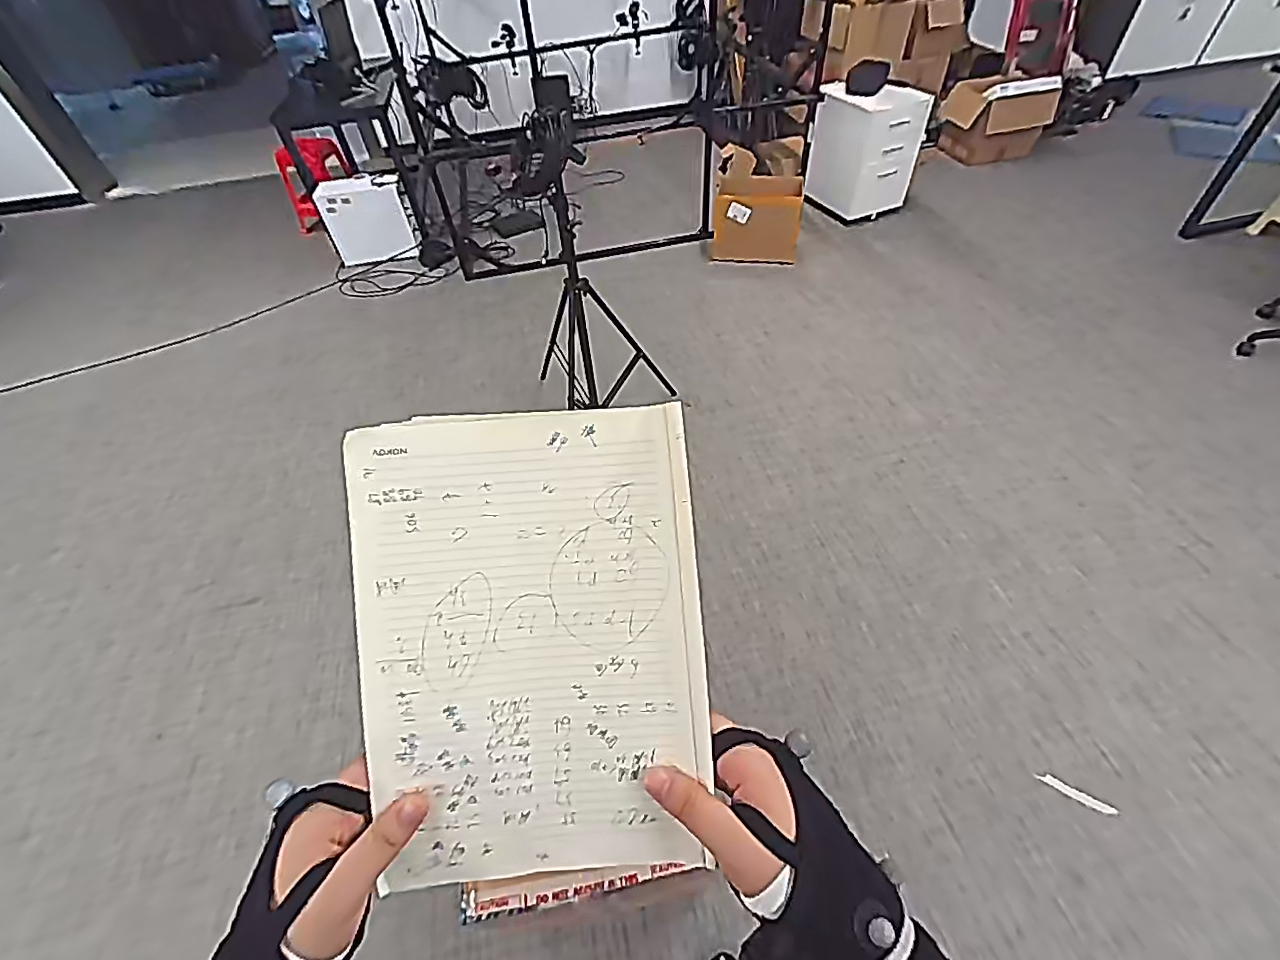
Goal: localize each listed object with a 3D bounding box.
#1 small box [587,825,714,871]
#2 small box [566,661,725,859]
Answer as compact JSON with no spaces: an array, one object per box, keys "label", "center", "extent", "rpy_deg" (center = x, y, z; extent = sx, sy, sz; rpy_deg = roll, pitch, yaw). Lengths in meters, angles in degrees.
[{"label":"small box","center":[0.000,0.473,0.828],"extent":[0.179,0.176,0.168],"rpy_deg":[-13,50,-8]},{"label":"small box","center":[0.000,0.365,0.704],"extent":[0.168,0.176,0.179],"rpy_deg":[-10,50,-7]}]
